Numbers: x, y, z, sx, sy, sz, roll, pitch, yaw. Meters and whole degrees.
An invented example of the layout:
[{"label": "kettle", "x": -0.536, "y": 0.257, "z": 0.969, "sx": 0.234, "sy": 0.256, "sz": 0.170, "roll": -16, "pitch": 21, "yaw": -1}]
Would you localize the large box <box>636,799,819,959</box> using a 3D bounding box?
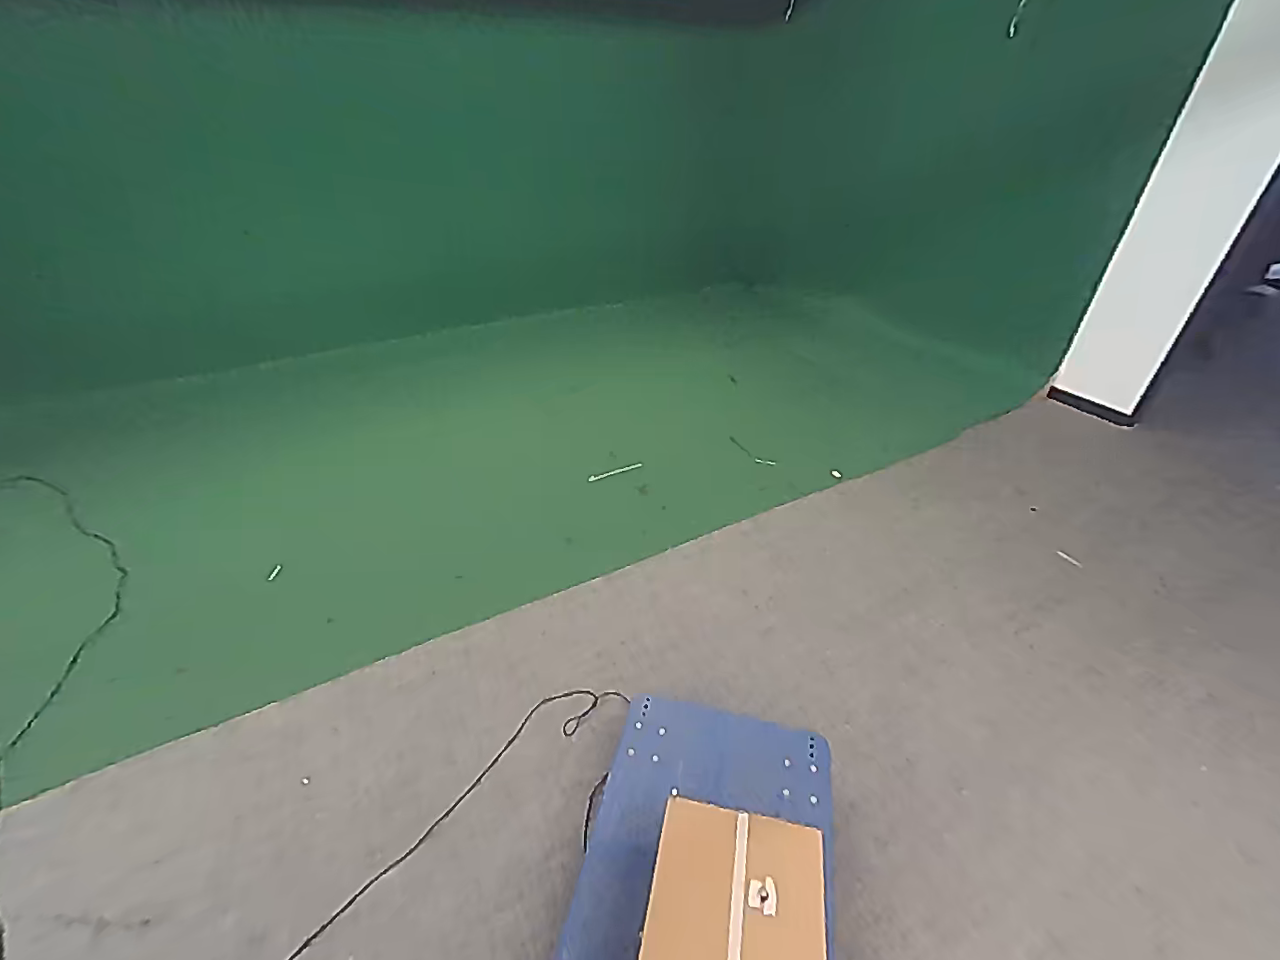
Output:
[{"label": "large box", "x": 0.164, "y": 0.929, "z": 1.051, "sx": 0.320, "sy": 0.320, "sz": 0.408, "roll": 8, "pitch": 36, "yaw": 11}]
